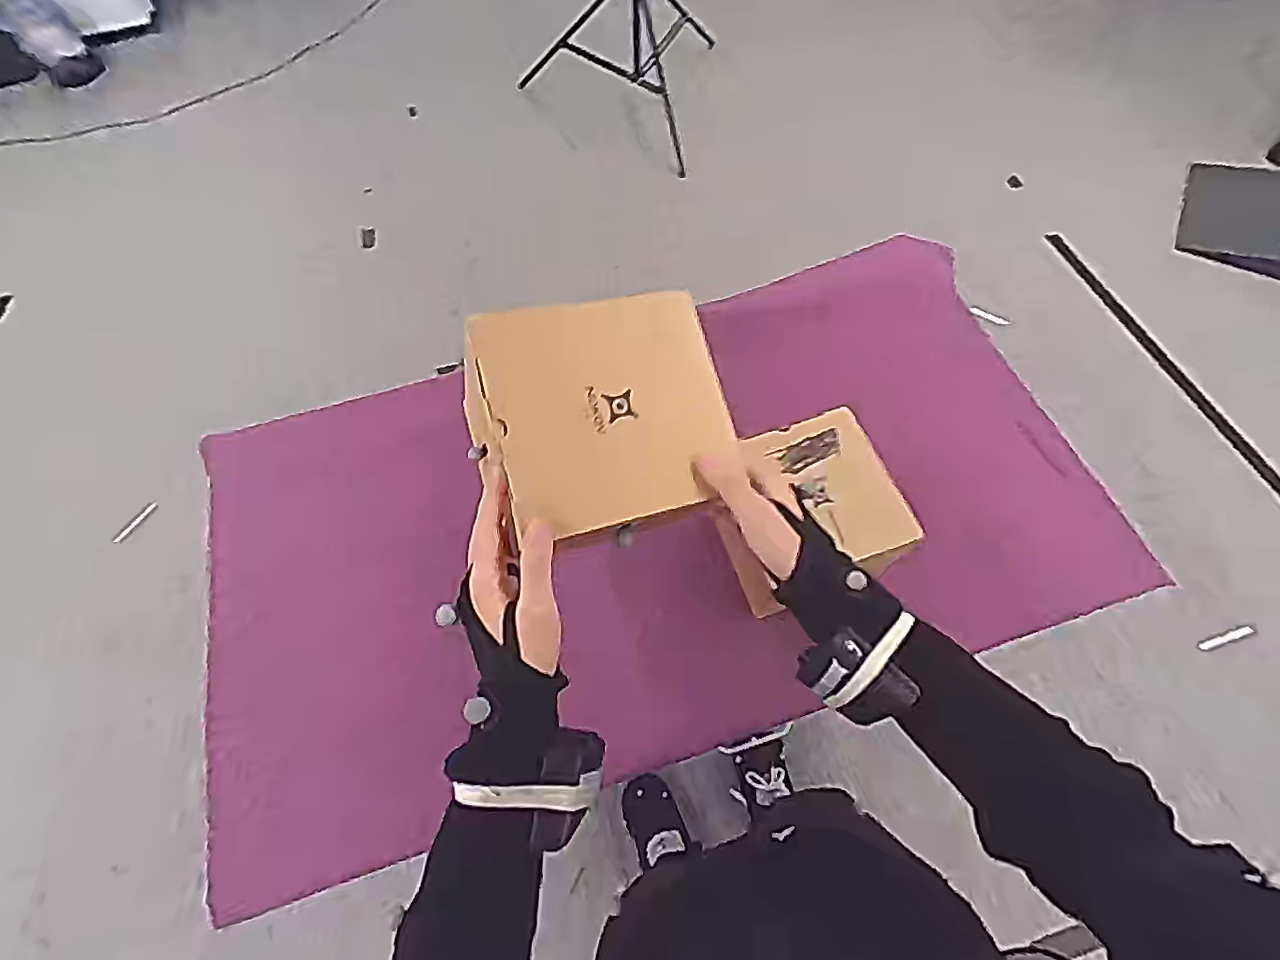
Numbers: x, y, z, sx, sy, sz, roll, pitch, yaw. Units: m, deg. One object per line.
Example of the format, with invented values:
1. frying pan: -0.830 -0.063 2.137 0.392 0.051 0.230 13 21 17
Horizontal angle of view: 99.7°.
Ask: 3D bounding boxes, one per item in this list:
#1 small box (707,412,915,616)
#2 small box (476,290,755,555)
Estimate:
1. small box: 0.191 0.049 0.669 0.168 0.176 0.179 -18 66 -6
2. small box: -0.035 -0.038 0.459 0.179 0.176 0.168 -13 83 -18
